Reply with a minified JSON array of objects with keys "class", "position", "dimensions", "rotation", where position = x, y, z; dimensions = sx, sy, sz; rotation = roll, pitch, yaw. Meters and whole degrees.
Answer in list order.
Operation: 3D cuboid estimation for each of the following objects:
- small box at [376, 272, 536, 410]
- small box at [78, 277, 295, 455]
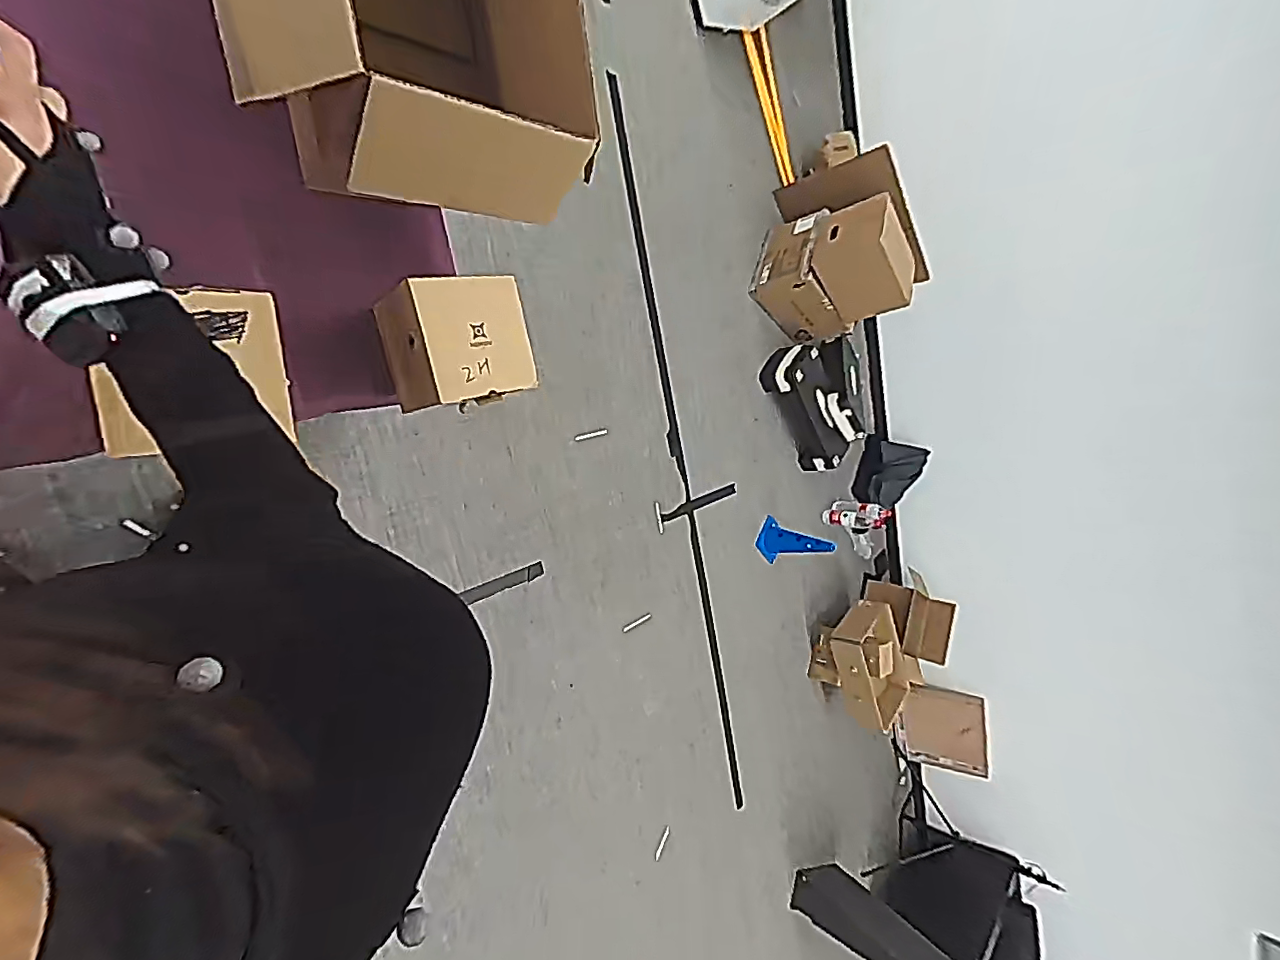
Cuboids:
[{"class":"small box","position":[-0.293,-0.215,0.854],"dimensions":[0.168,0.176,0.179],"rotation":[-20,104,-39]},{"class":"small box","position":[-0.533,-0.123,0.641],"dimensions":[0.168,0.176,0.179],"rotation":[-11,100,-41]}]
